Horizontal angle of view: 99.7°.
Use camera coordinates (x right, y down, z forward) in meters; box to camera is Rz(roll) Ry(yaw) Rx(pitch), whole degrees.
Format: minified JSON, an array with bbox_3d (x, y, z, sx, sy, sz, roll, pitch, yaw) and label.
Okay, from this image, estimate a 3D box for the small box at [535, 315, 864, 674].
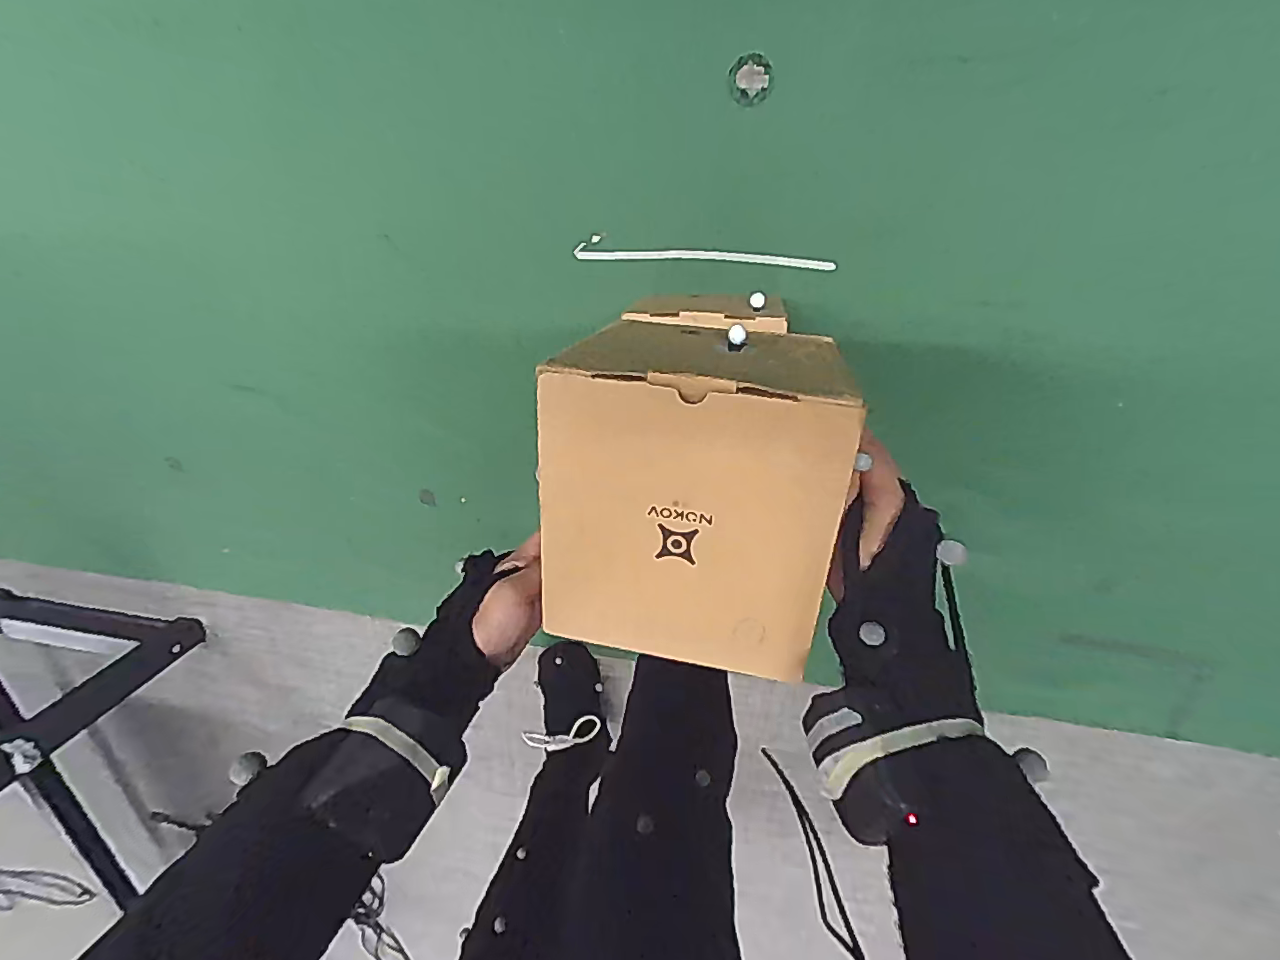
[{"bbox_3d":[0.040,-0.006,0.369,0.168,0.176,0.179,8,115,11],"label":"small box"}]
